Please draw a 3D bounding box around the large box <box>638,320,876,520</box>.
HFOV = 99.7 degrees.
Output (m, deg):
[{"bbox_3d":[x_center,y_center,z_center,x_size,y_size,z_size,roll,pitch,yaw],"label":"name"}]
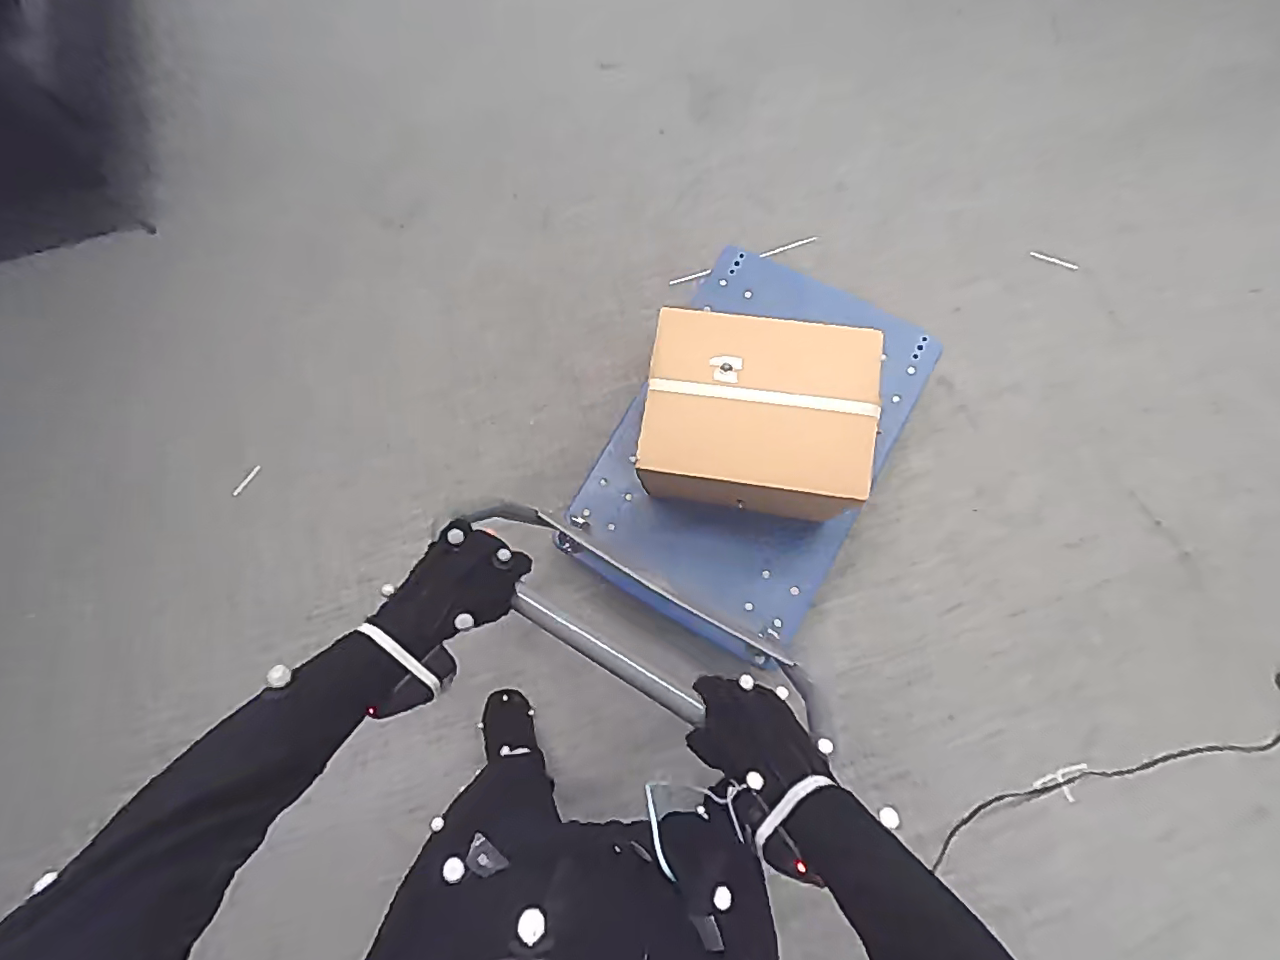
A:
[{"bbox_3d":[0.230,-0.105,1.117,0.408,0.320,0.320,8,79,8],"label":"large box"}]
